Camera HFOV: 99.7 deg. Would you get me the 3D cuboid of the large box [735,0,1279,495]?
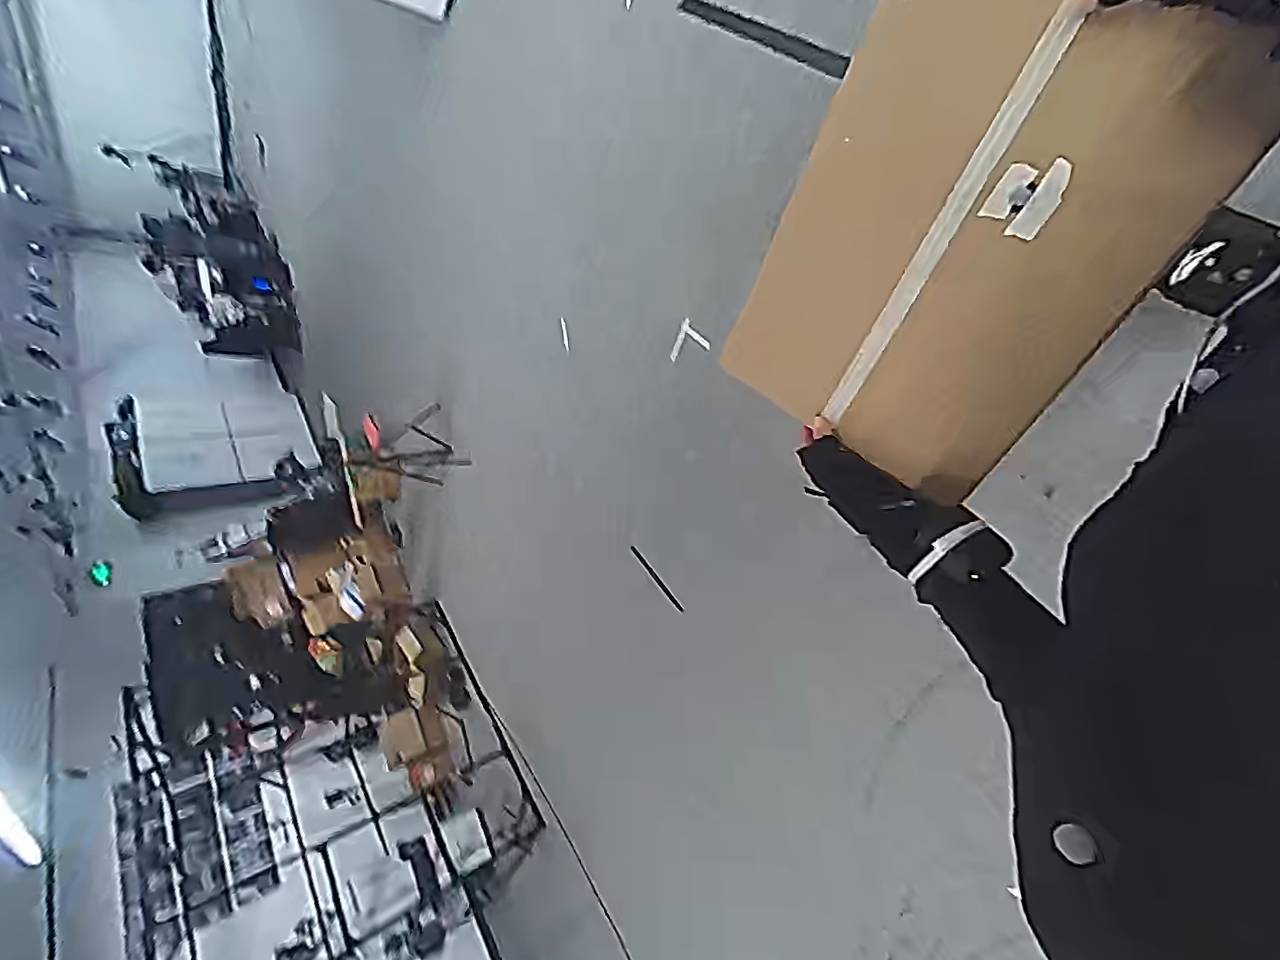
[{"bbox_3d":[0.380,-0.257,0.622,0.320,0.320,0.408,41,129,25],"label":"large box"}]
